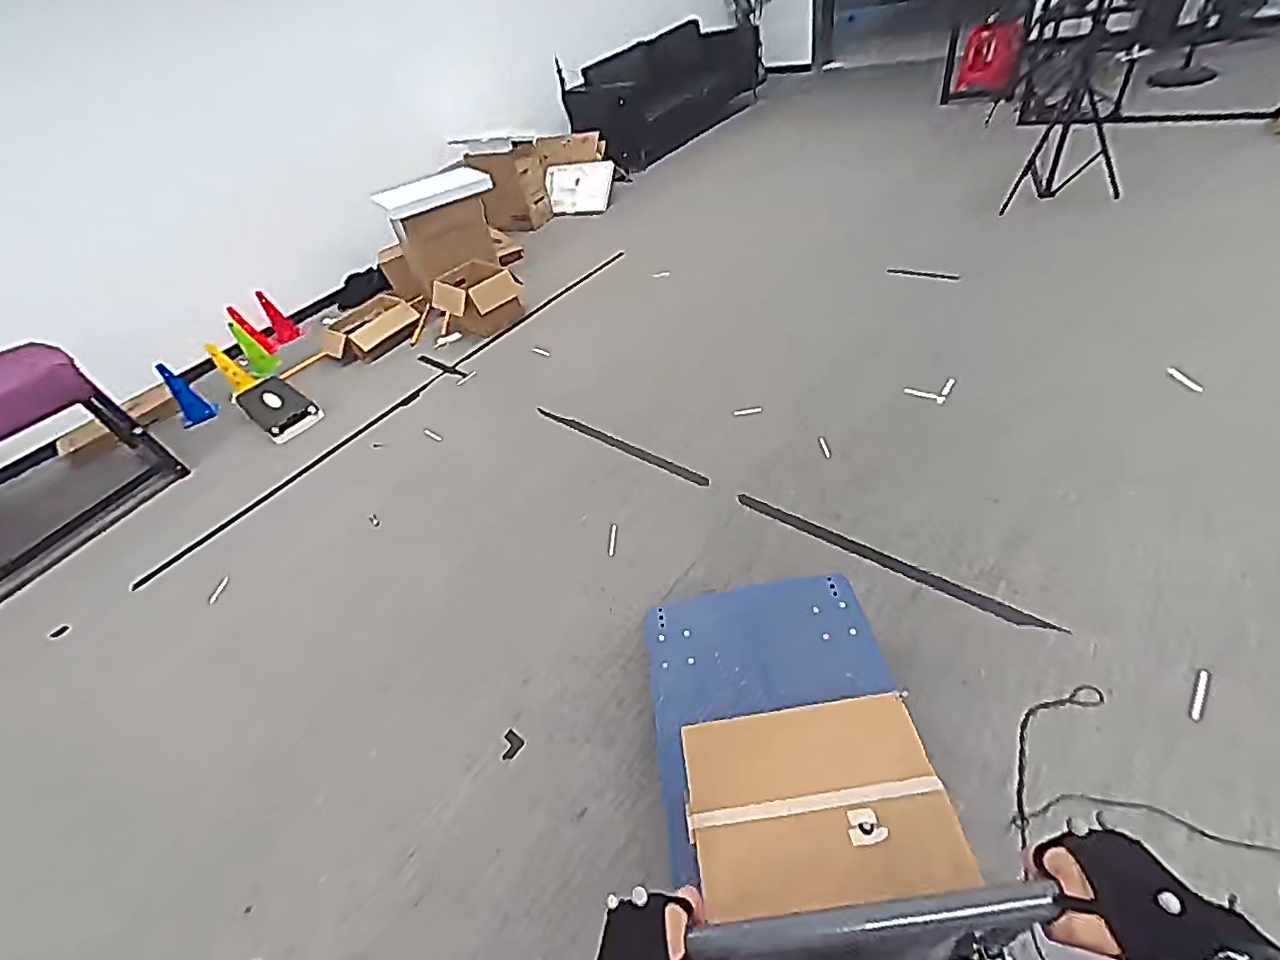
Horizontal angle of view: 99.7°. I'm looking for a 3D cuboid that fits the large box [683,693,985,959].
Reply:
[{"bbox_3d":[0.313,0.638,0.987,0.408,0.320,0.320,-11,43,4],"label":"large box"}]
